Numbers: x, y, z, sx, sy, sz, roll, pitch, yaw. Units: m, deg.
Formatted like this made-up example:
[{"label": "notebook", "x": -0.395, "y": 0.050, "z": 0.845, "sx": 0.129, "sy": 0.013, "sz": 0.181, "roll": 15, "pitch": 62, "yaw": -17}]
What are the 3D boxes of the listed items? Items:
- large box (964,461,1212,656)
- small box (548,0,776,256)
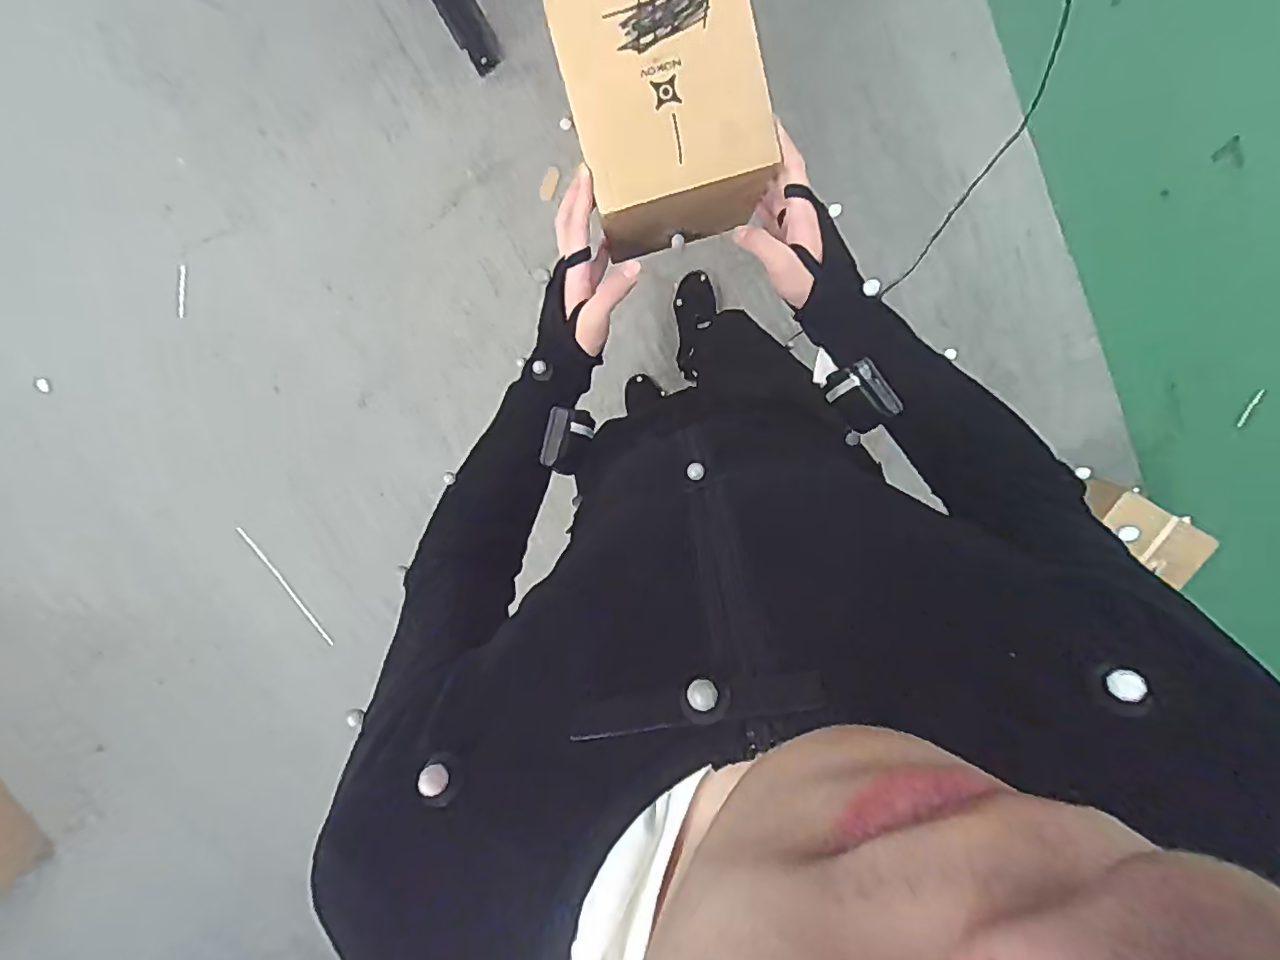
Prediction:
[{"label": "large box", "x": 1.249, "y": 0.211, "z": 1.558, "sx": 0.320, "sy": 0.320, "sz": 0.408, "roll": 27, "pitch": 102, "yaw": -8}, {"label": "small box", "x": 0.019, "y": -0.348, "z": 0.537, "sx": 0.168, "sy": 0.176, "sz": 0.179, "roll": -14, "pitch": 99, "yaw": 2}]
